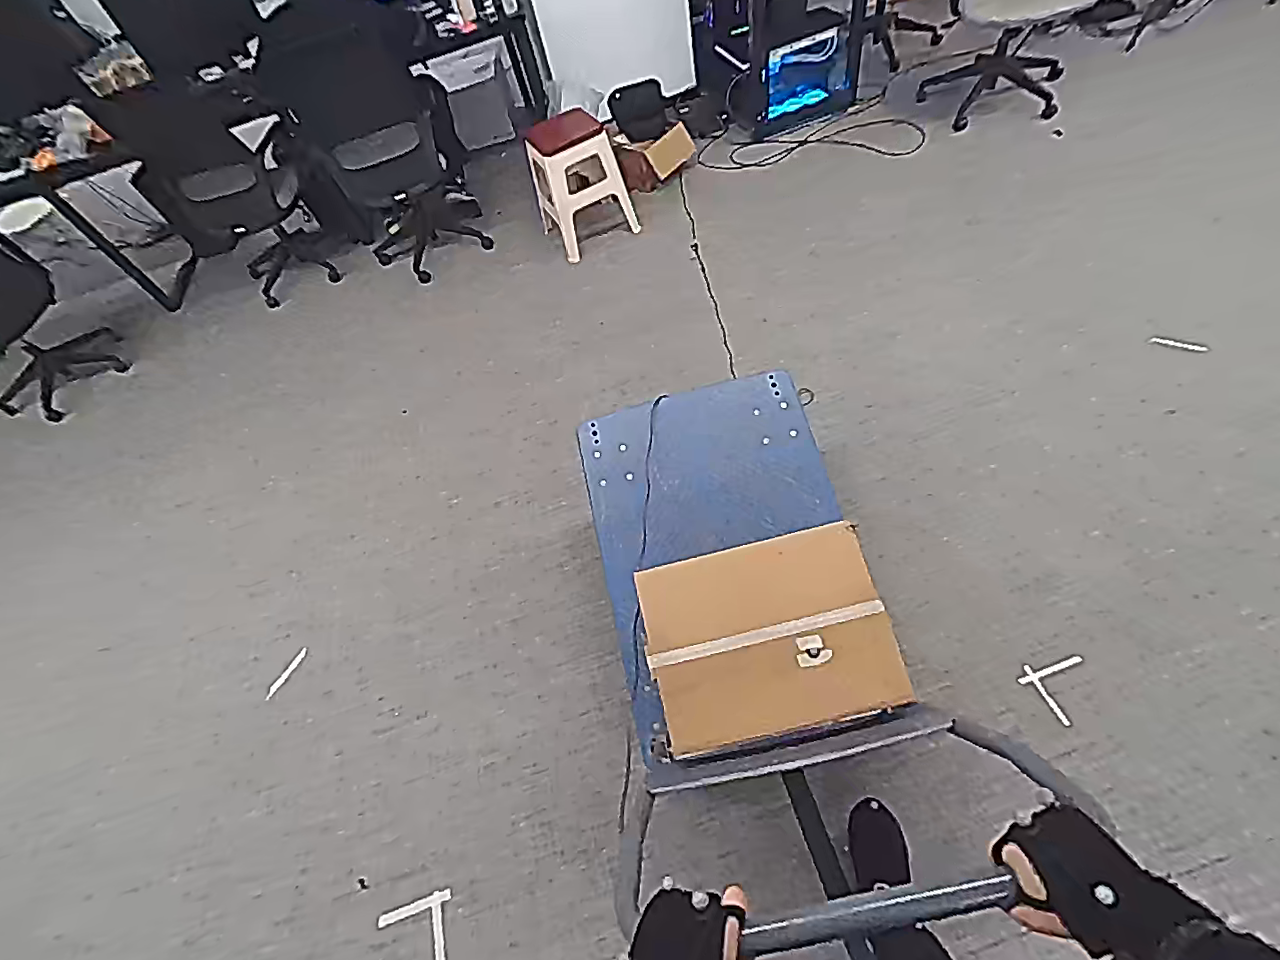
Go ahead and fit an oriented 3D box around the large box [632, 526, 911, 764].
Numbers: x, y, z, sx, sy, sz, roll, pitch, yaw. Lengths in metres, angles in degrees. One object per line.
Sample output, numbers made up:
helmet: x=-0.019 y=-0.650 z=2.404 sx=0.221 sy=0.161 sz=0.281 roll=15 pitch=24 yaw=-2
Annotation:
large box: x=0.227 y=0.317 z=1.060 sx=0.408 sy=0.320 sz=0.320 roll=-15 pitch=72 yaw=2
